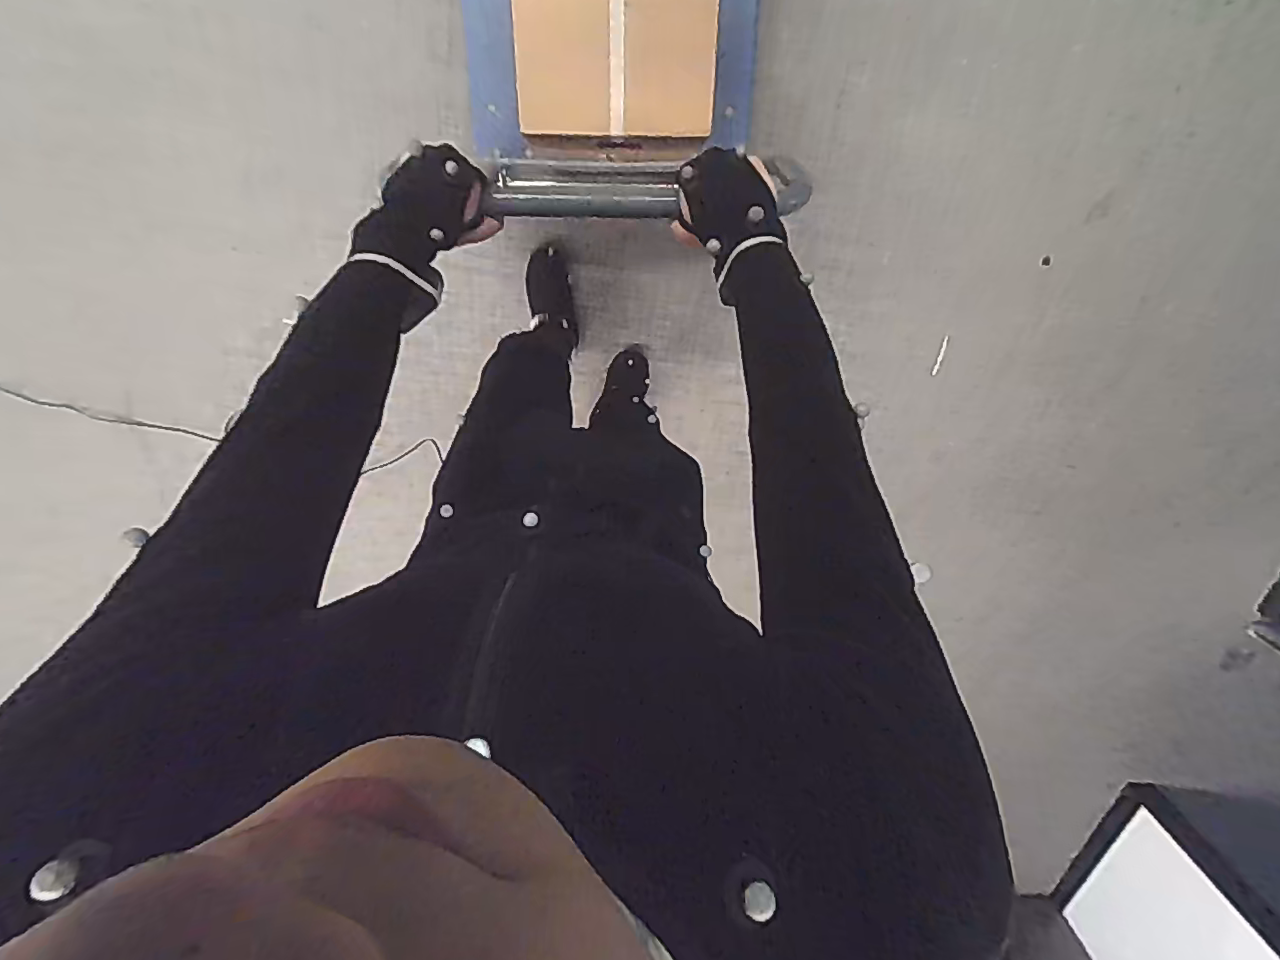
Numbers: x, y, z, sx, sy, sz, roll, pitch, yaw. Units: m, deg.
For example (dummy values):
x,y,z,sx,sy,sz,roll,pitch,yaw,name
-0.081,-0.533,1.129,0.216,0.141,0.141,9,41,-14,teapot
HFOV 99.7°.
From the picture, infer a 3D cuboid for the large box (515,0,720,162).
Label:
x,y,z,sx,sy,sz,roll,pitch,yaw,name
-0.035,-0.803,0.940,0.320,0.320,0.408,0,114,-2,large box
